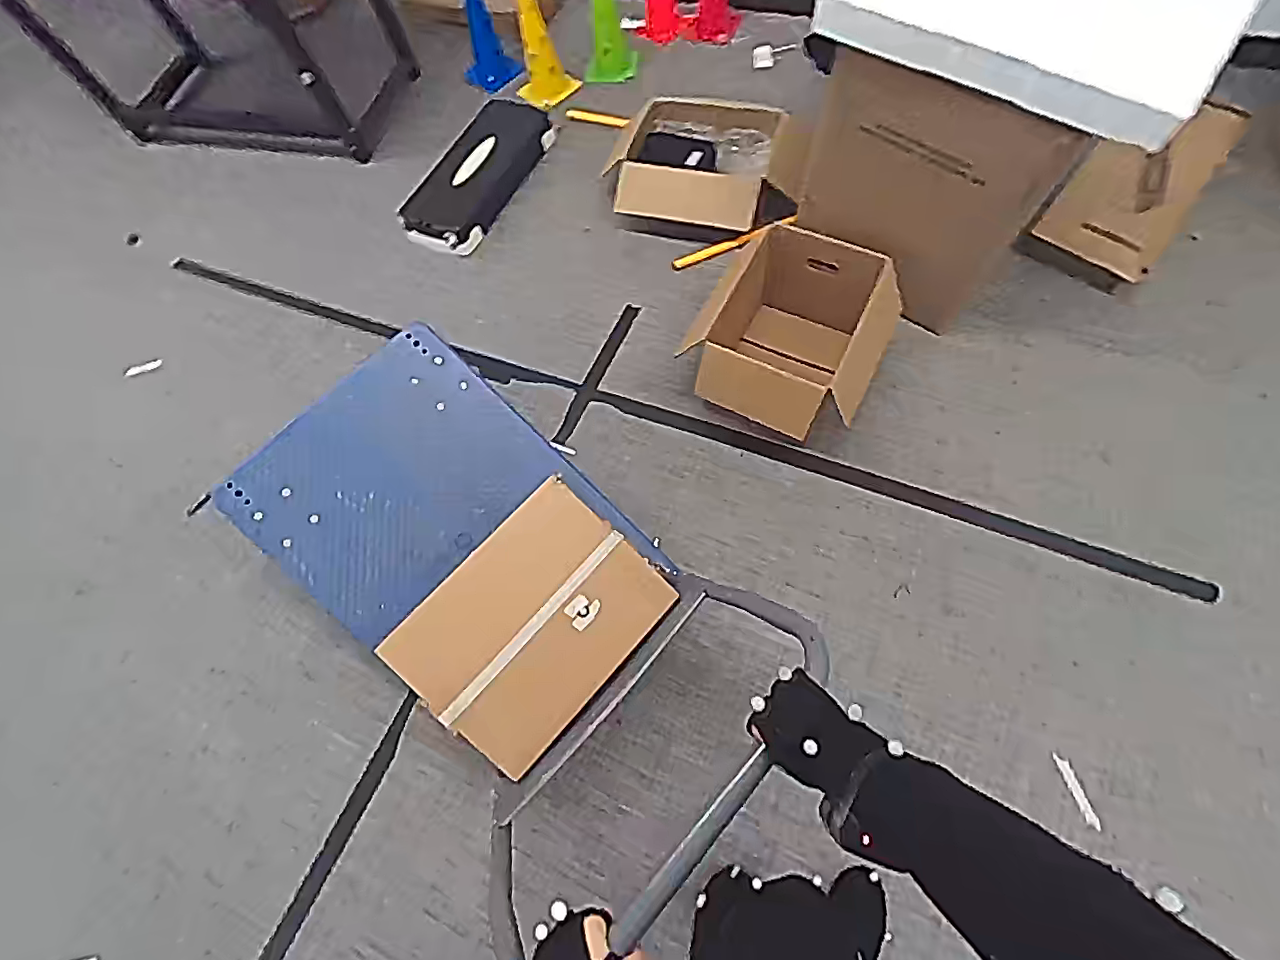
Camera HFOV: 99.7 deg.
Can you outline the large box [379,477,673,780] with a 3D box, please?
[{"bbox_3d":[-0.205,0.262,1.047,0.320,0.320,0.408,44,76,-2],"label":"large box"}]
